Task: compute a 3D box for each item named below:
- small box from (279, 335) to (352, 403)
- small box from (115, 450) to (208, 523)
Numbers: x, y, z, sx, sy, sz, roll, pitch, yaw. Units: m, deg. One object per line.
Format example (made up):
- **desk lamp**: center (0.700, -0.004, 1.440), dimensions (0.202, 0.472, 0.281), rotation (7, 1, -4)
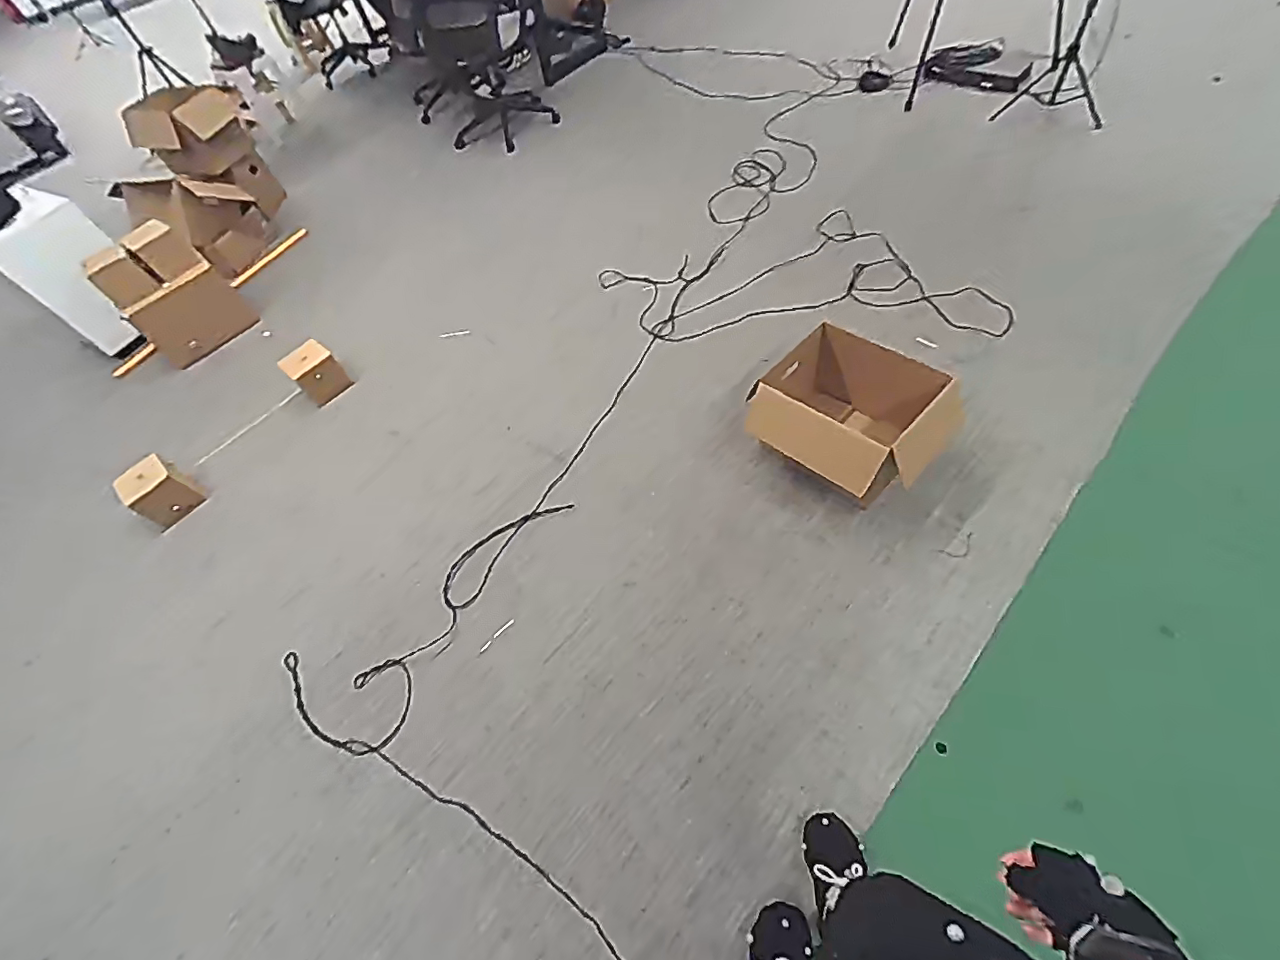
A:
- **small box**: center (-1.314, -0.449, 2.208), dimensions (0.168, 0.176, 0.179), rotation (34, 70, 27)
- **small box**: center (-1.754, 0.028, 1.987), dimensions (0.179, 0.176, 0.168), rotation (34, 70, 27)
